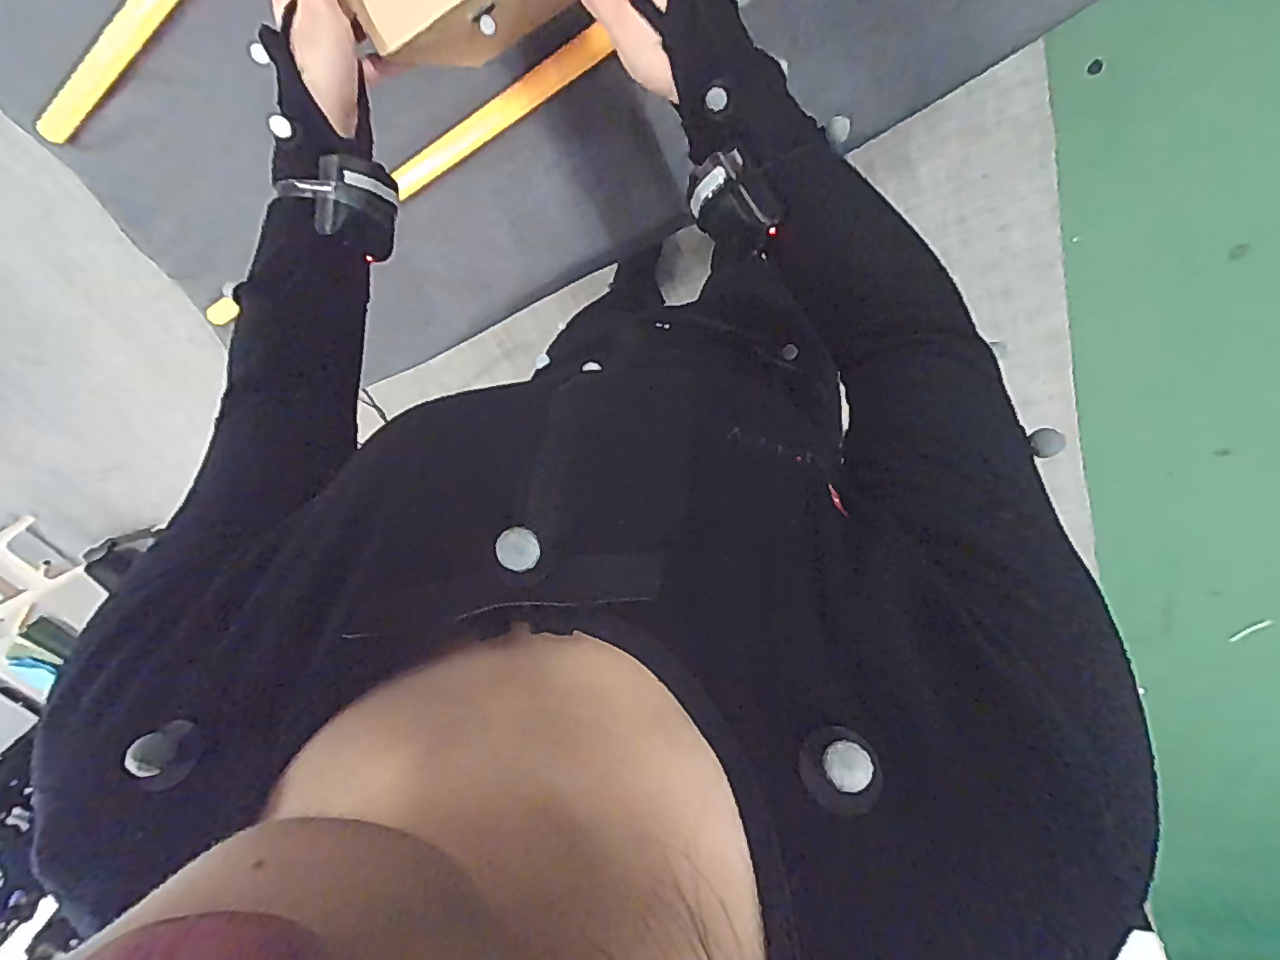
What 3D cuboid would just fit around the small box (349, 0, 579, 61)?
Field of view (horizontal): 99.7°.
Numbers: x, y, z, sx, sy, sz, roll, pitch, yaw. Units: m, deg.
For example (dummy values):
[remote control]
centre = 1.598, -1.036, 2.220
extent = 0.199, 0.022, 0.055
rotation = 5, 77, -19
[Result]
[small box]
centre = -0.133, -0.442, 0.401
extent = 0.179, 0.176, 0.168
rotation = -14, 122, 23
